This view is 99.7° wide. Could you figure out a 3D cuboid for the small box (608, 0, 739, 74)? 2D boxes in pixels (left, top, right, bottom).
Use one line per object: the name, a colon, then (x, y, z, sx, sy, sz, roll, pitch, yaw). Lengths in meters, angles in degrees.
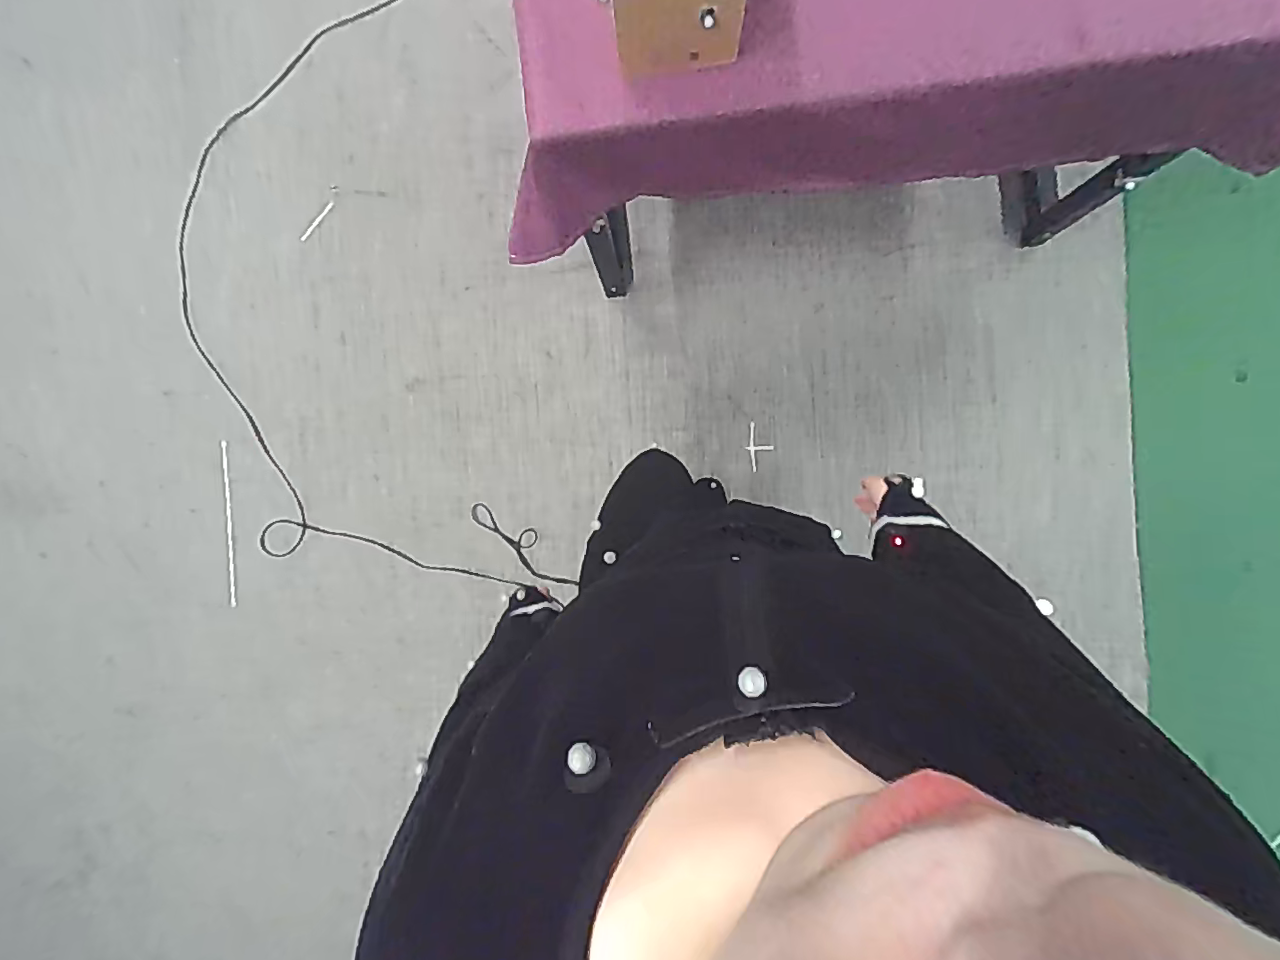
small box: (0.037, -0.664, 0.695, 0.168, 0.176, 0.179, -7, 89, 2)
